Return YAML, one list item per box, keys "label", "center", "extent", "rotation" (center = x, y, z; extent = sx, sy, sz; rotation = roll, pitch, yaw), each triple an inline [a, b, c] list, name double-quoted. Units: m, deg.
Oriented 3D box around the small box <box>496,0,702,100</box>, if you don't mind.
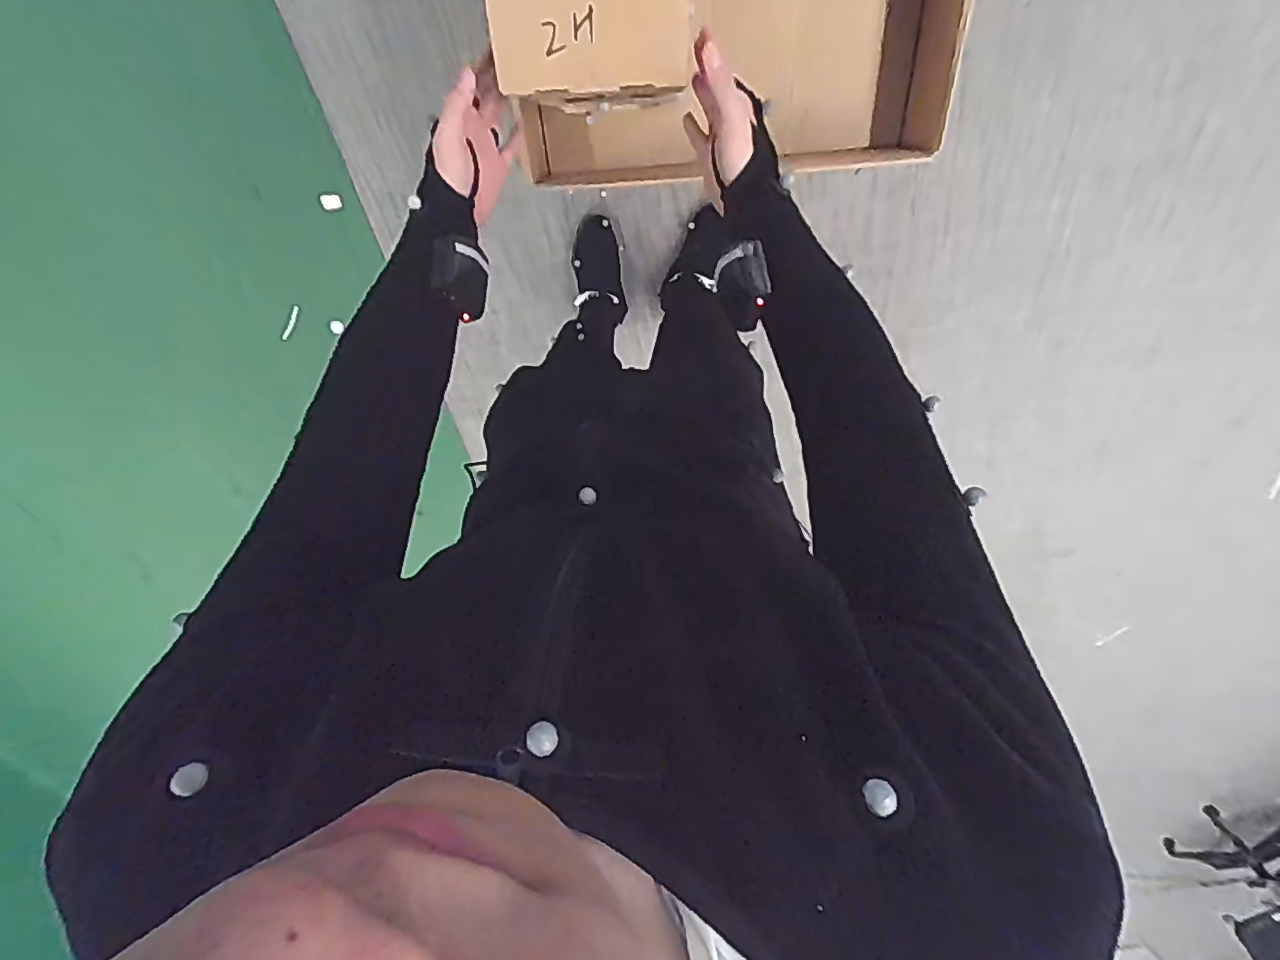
- label: "small box"
  center: [-0.033, -0.446, 0.478]
  extent: [0.168, 0.176, 0.179]
  rotation: [-1, 126, 2]
